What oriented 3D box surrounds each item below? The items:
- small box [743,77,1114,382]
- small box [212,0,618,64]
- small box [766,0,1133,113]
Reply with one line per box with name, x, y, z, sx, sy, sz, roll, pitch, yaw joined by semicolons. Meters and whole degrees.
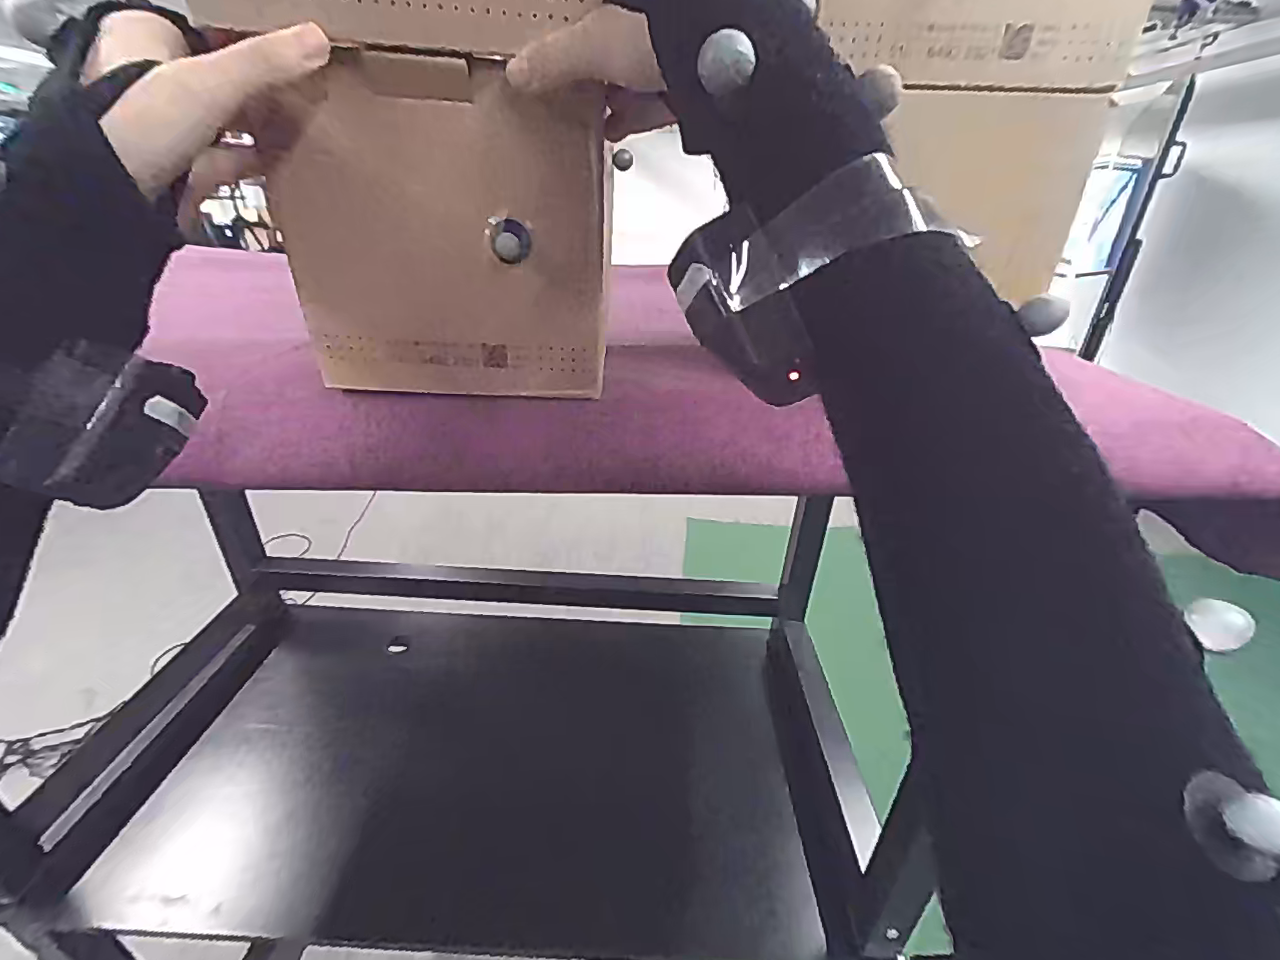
small box;0.173;-0.176;0.396;0.168;0.176;0.179;3;27;2
small box;-0.094;-0.304;0.249;0.179;0.176;0.168;1;35;-4
small box;0.176;-0.322;0.321;0.168;0.176;0.179;3;28;2
